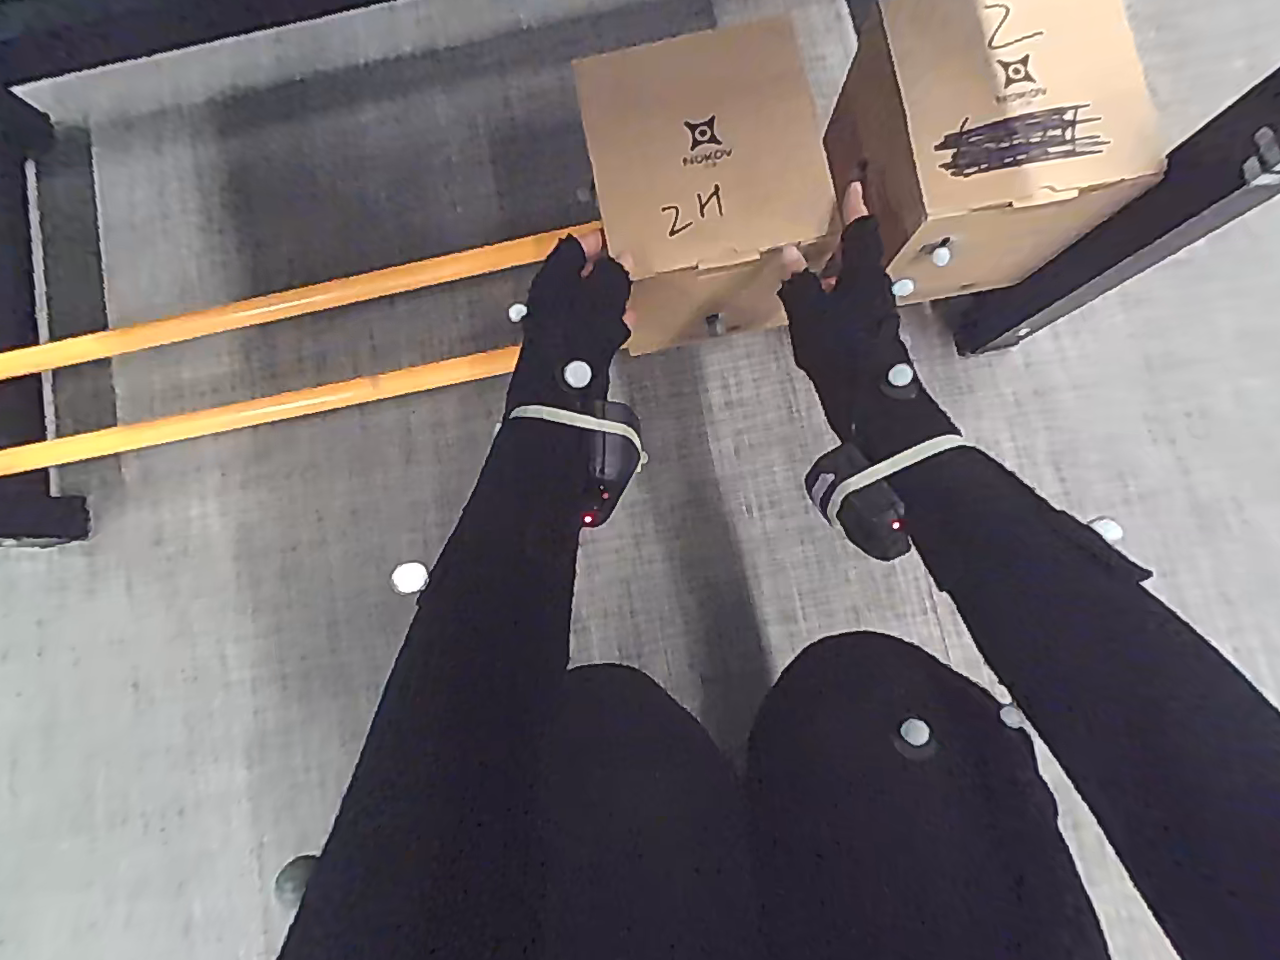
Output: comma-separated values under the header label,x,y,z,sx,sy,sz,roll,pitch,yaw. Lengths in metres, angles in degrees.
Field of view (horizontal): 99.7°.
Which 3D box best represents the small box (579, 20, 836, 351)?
label,x,y,z,sx,sy,sz,roll,pitch,yaw
small box,0.052,-0.236,0.476,0.168,0.176,0.179,-11,83,4
